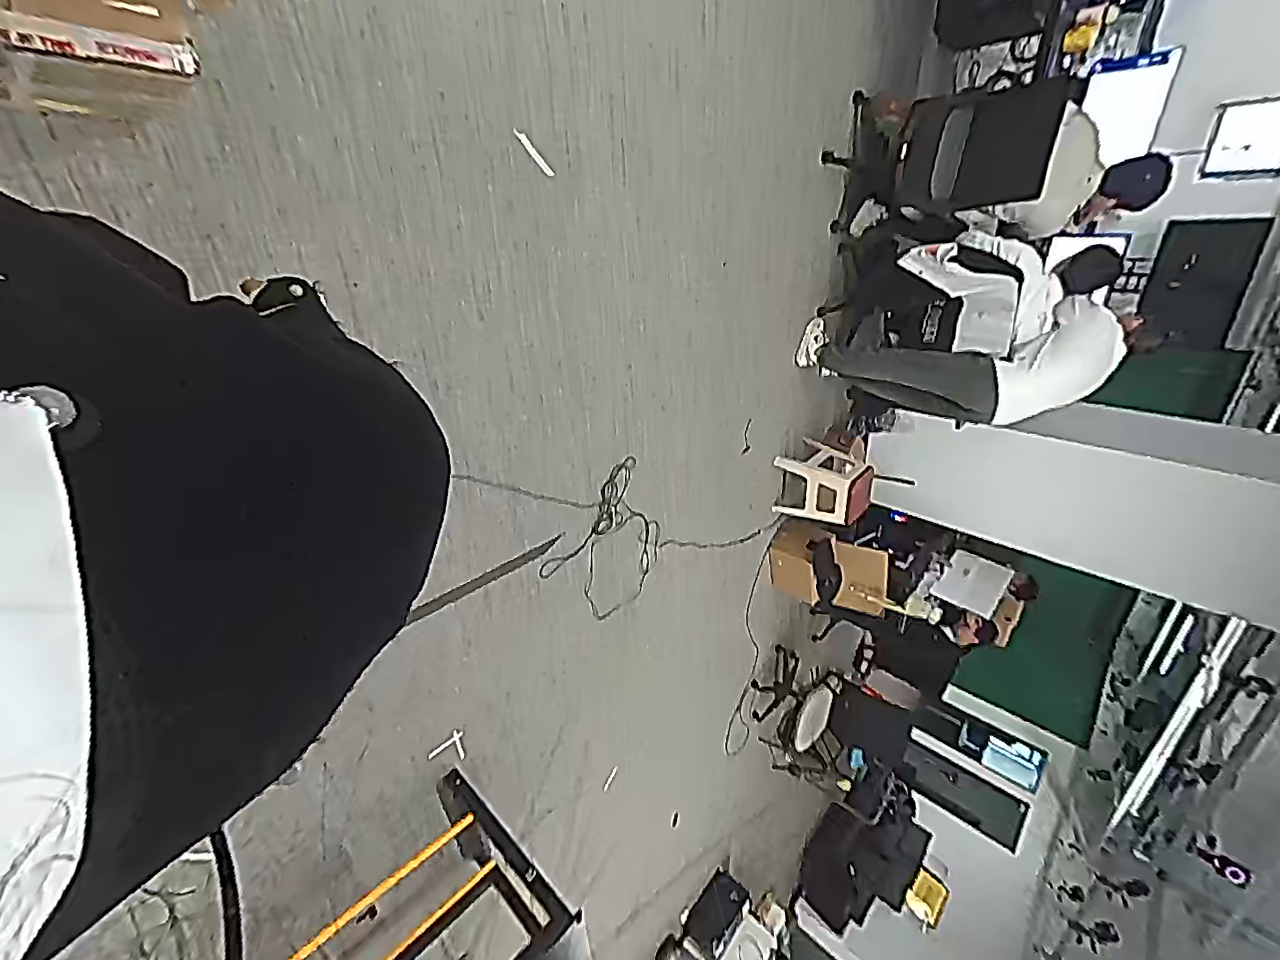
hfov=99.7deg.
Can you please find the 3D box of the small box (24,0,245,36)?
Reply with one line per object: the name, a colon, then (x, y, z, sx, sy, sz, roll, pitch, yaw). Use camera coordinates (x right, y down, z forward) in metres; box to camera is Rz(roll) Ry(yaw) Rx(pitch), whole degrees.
small box: (-0.580, -0.608, 0.586, 0.179, 0.176, 0.168, -29, 128, -40)
